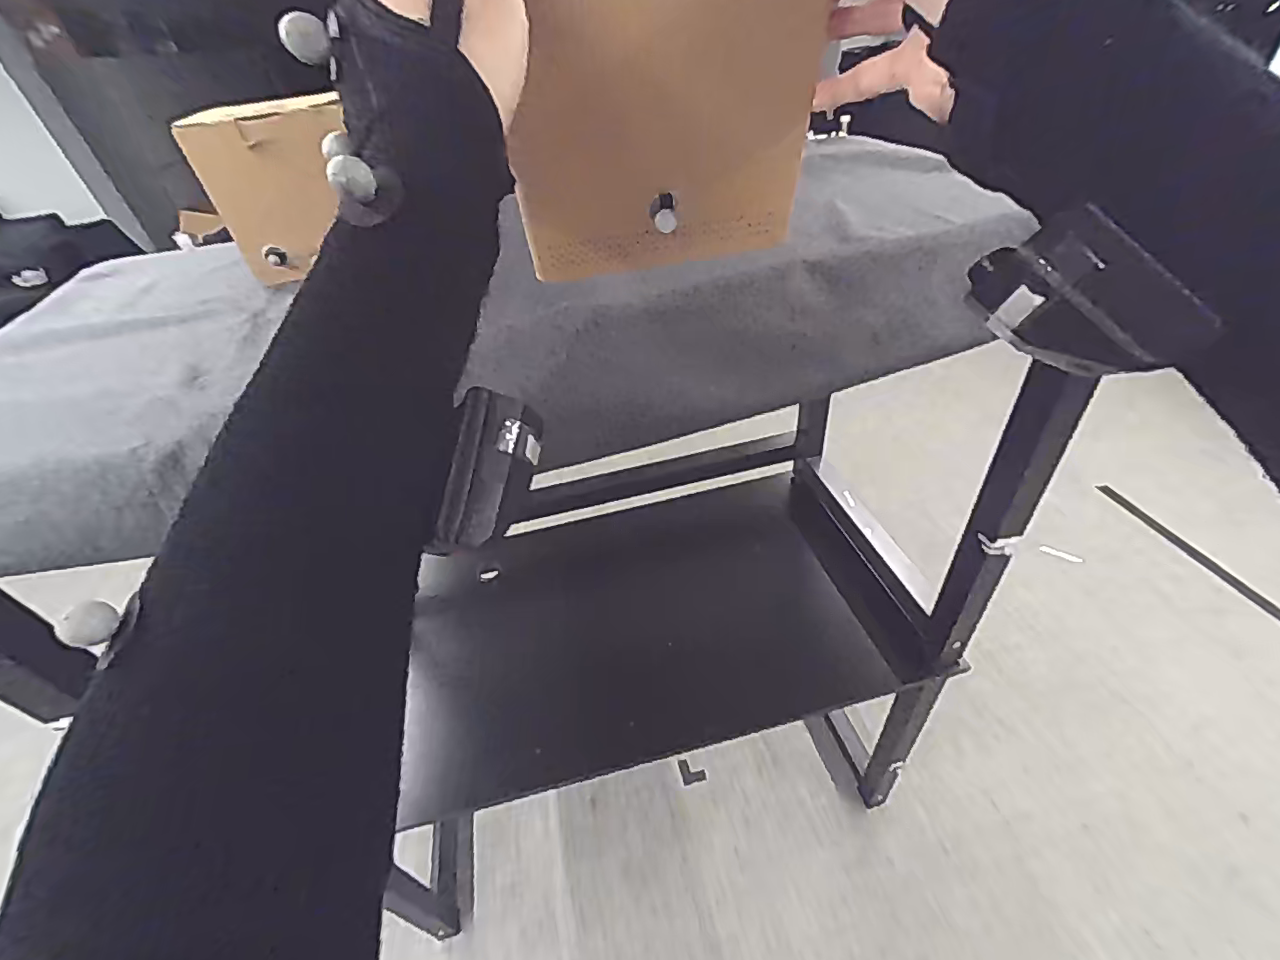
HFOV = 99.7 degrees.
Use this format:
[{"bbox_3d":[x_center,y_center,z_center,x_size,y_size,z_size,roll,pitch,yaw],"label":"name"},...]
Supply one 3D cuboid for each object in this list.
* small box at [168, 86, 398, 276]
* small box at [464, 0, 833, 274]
[{"bbox_3d":[-0.415,-0.367,0.670,0.168,0.176,0.179,-16,41,-9],"label":"small box"},{"bbox_3d":[-0.004,-0.257,0.339,0.179,0.176,0.168,-10,58,-3],"label":"small box"}]
